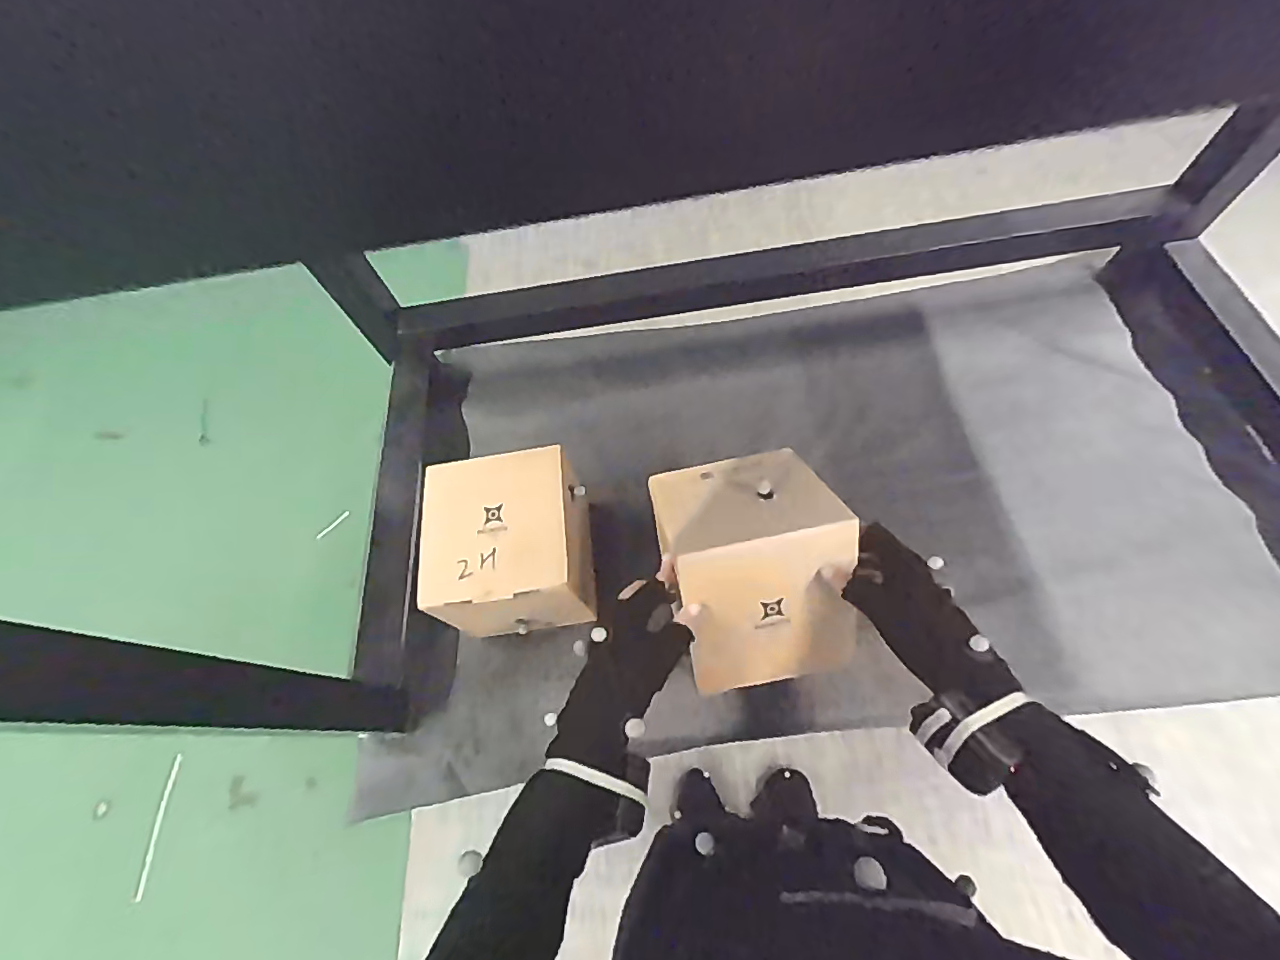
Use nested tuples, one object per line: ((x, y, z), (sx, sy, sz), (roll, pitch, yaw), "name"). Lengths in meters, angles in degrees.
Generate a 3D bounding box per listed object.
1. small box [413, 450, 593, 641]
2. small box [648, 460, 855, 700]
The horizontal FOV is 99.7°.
((-0.157, 0.087, 0.672), (0.168, 0.176, 0.179), (-9, 62, 4), "small box")
((0.109, 0.091, 0.573), (0.168, 0.179, 0.176), (-12, 26, -3), "small box")
